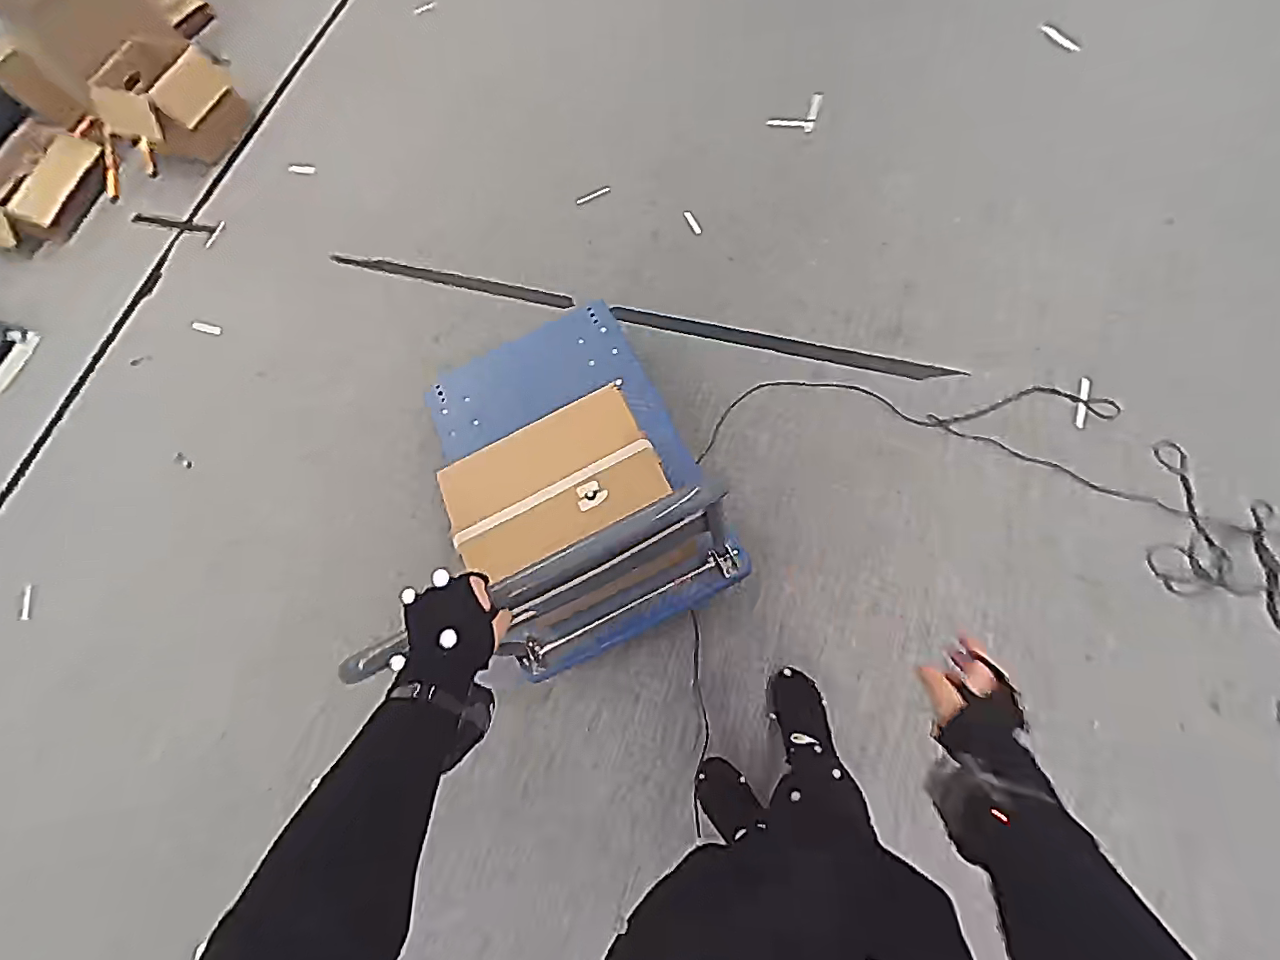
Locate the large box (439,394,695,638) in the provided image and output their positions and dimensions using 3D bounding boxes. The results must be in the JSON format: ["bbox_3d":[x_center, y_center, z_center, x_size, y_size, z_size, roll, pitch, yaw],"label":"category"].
[{"bbox_3d":[-0.136,0.095,1.147,0.408,0.320,0.320,-27,68,0],"label":"large box"}]
